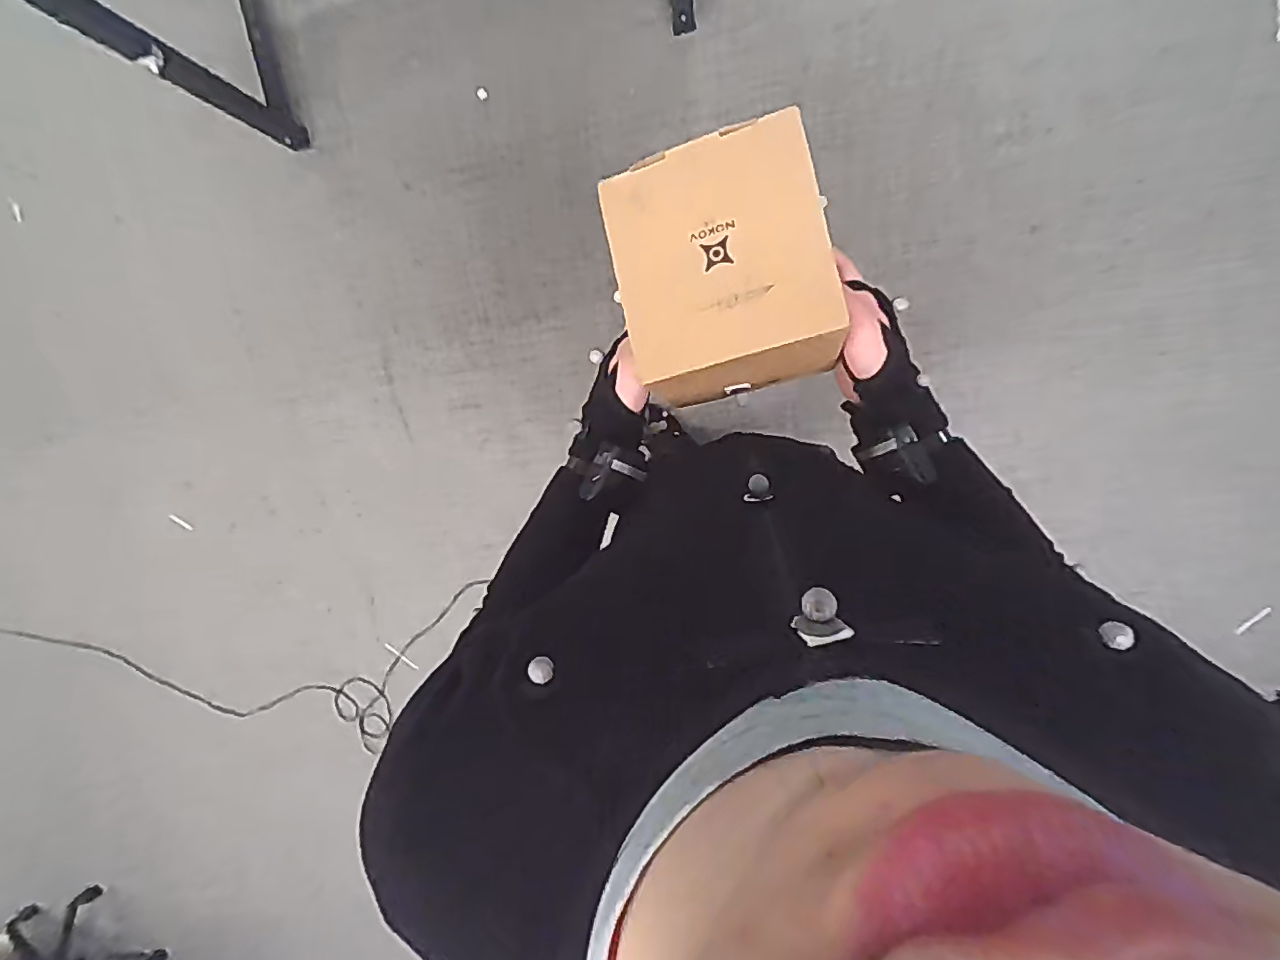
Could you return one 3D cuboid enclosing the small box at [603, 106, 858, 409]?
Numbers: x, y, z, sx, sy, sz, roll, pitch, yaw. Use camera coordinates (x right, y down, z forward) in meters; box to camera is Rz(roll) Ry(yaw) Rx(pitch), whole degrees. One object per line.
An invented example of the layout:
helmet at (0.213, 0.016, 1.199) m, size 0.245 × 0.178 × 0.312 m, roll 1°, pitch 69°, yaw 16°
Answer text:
small box at (0.084, -0.177, 0.493) m, size 0.168 × 0.176 × 0.179 m, roll -15°, pitch 86°, yaw 16°
